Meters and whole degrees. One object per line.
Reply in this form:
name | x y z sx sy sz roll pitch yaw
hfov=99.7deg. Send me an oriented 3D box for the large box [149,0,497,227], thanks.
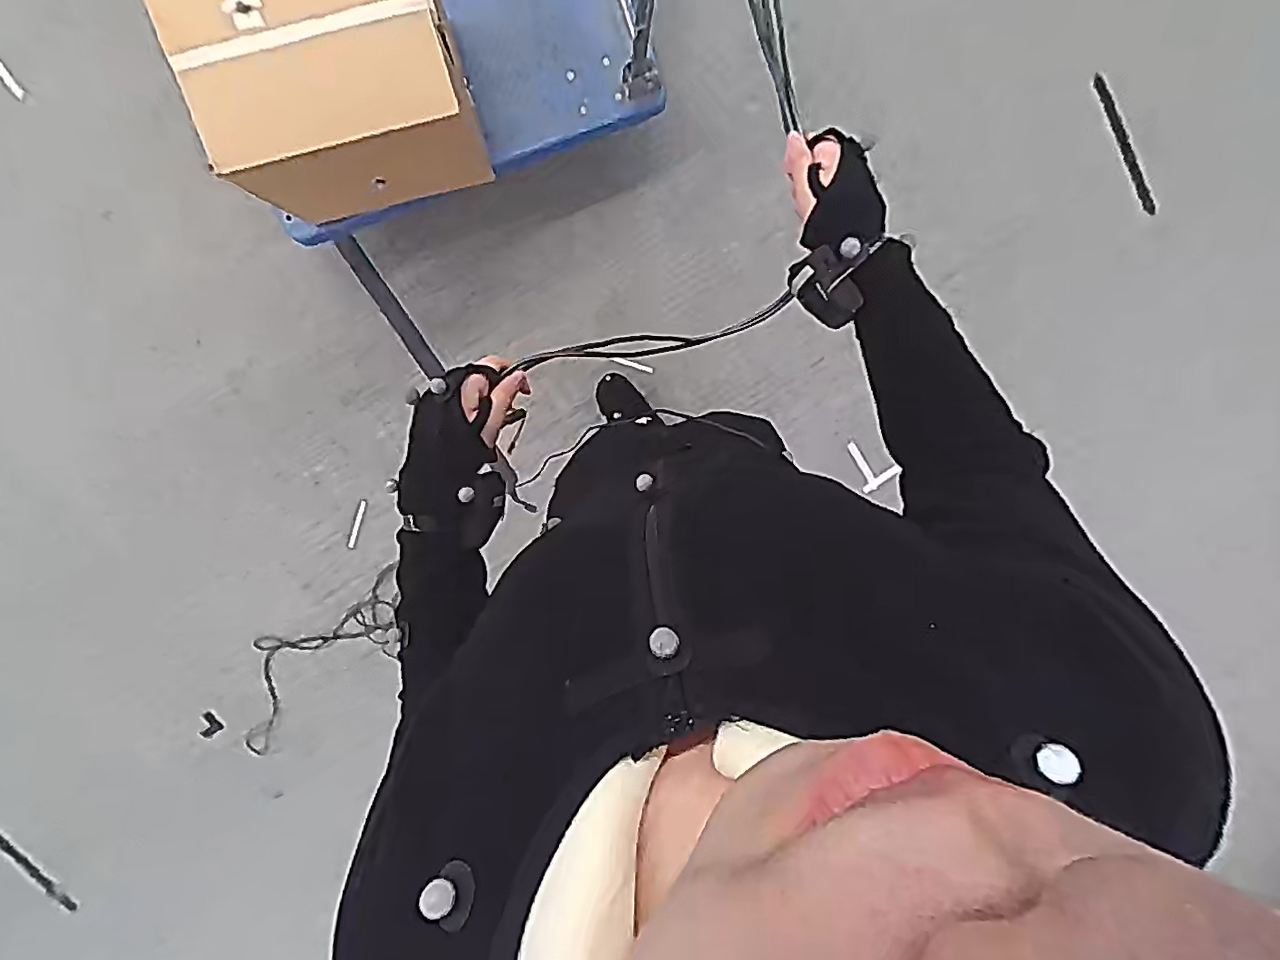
large box | -0.521 -0.698 0.974 0.408 0.320 0.320 -15 101 -1
